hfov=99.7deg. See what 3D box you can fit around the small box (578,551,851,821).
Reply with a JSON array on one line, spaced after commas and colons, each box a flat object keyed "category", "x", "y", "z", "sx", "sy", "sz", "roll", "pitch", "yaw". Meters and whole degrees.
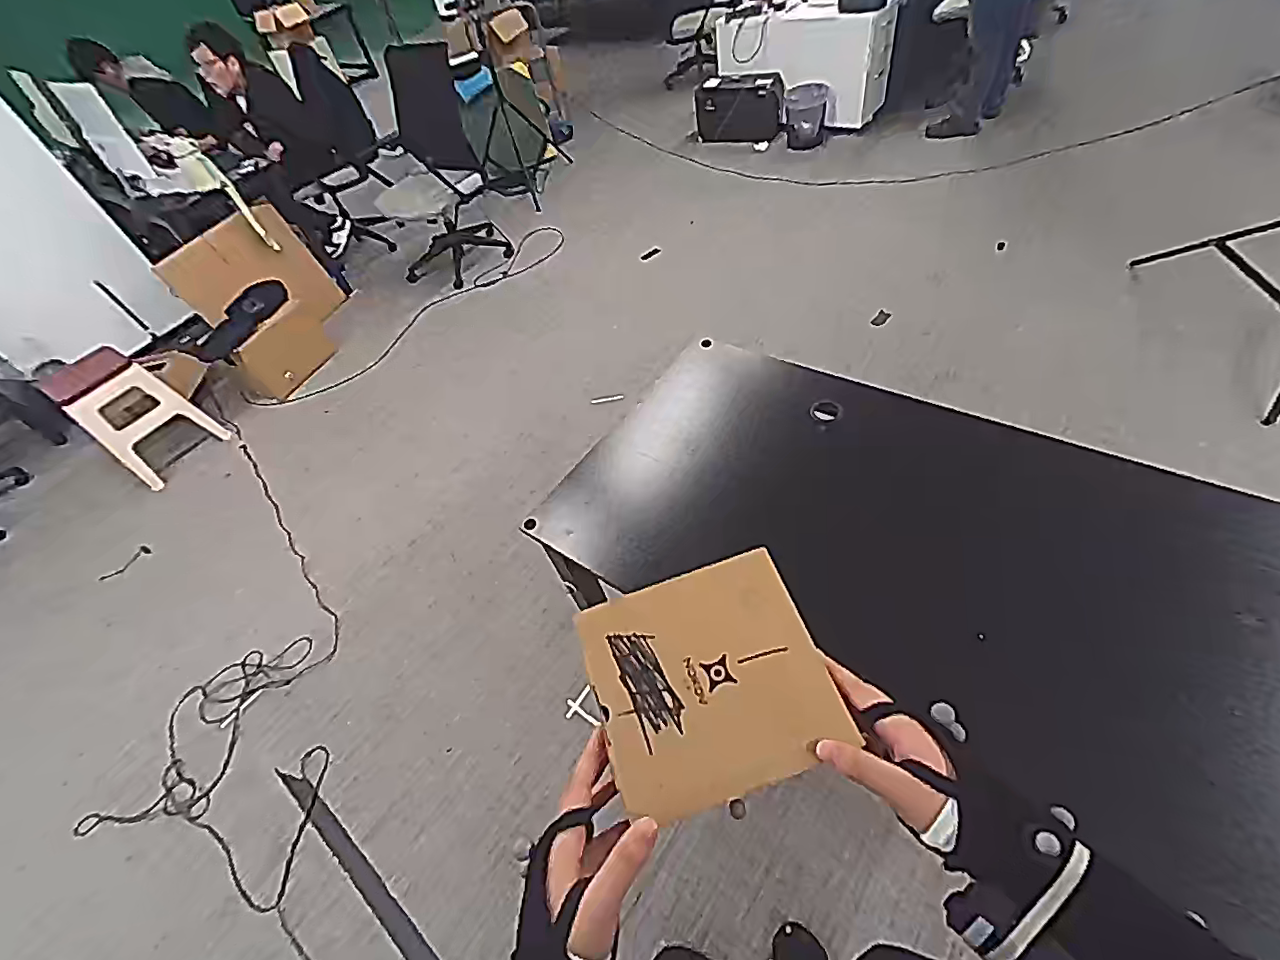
[{"category": "small box", "x": 0.060, "y": 0.195, "z": 0.497, "sx": 0.179, "sy": 0.176, "sz": 0.168, "roll": -18, "pitch": 59, "yaw": -4}]
